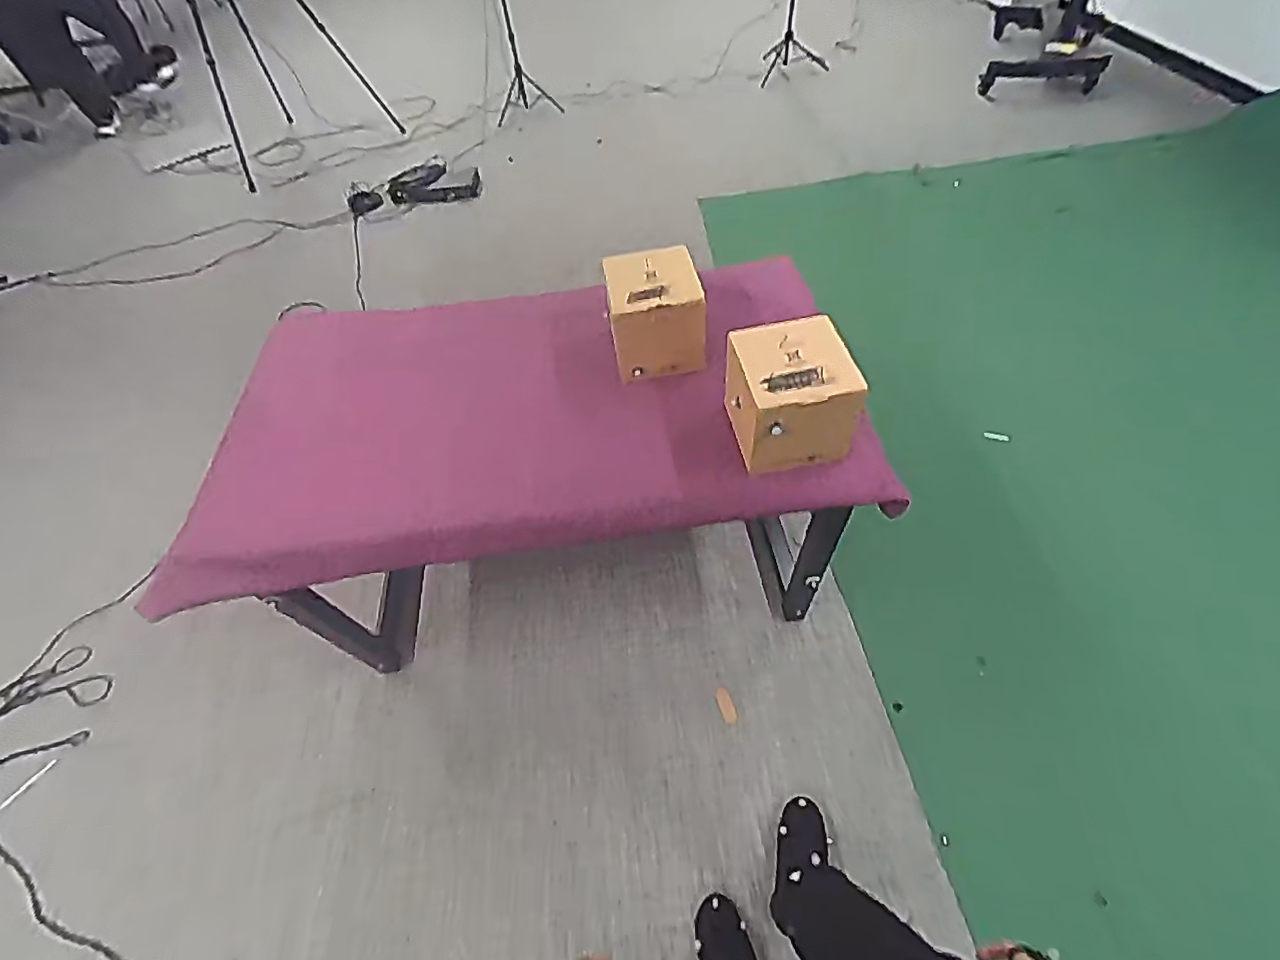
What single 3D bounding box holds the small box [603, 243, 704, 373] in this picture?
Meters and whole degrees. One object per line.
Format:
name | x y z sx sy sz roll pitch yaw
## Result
small box | 0.029 -0.322 1.041 0.168 0.176 0.179 -9 54 -1
